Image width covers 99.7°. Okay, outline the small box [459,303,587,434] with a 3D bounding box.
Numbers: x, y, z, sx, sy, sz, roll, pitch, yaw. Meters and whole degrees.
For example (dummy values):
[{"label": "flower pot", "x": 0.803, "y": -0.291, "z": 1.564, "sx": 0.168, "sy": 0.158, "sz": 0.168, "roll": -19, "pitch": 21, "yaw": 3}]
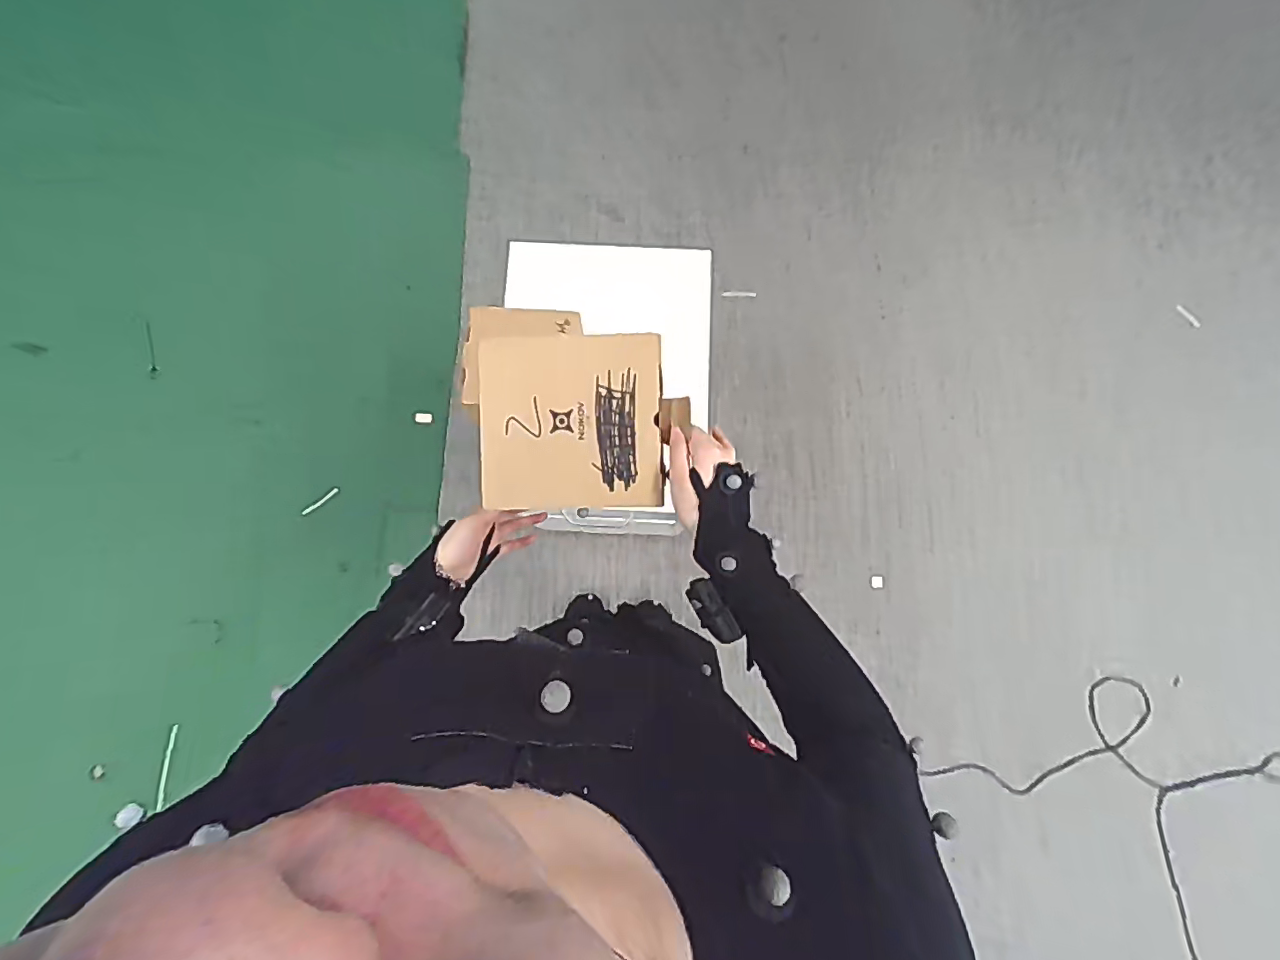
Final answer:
[{"label": "small box", "x": -0.188, "y": -0.180, "z": 0.917, "sx": 0.179, "sy": 0.176, "sz": 0.168, "roll": 2, "pitch": 78, "yaw": -1}]
